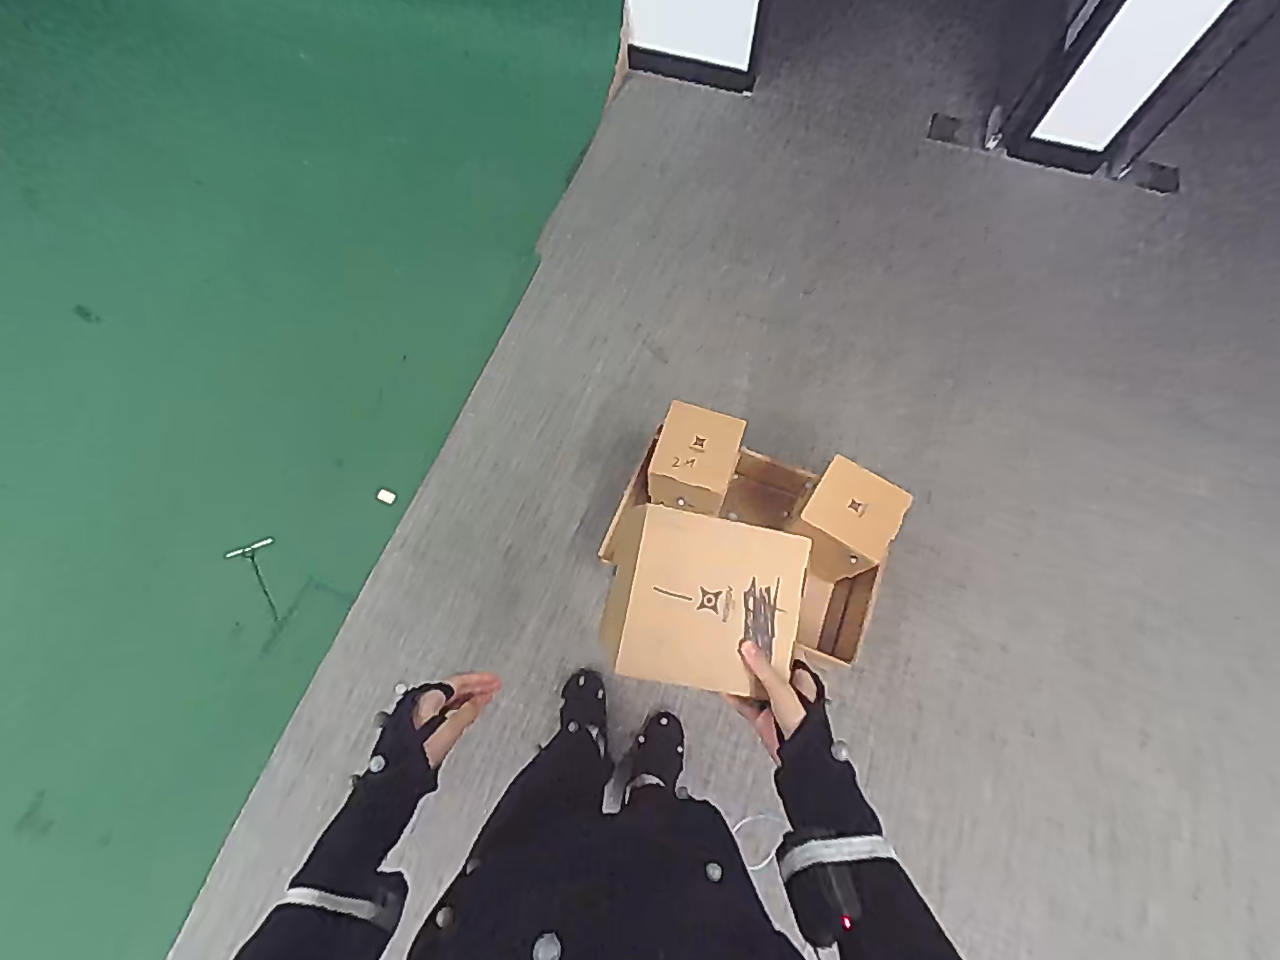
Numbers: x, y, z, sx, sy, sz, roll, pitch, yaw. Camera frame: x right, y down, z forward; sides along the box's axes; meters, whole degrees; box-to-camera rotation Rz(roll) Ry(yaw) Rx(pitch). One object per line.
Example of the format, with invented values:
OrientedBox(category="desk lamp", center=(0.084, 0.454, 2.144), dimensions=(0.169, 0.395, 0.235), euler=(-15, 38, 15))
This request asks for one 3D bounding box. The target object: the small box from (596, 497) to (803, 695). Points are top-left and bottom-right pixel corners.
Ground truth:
OrientedBox(category="small box", center=(0.055, 0.121, 0.607), dimensions=(0.179, 0.176, 0.168), euler=(13, 82, -6))

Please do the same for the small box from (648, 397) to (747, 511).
OrientedBox(category="small box", center=(0.123, -0.052, 1.197), dimensions=(0.168, 0.176, 0.179), euler=(19, 74, 9))

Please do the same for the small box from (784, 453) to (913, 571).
OrientedBox(category="small box", center=(0.431, 0.077, 1.148), dimensions=(0.179, 0.176, 0.168), euler=(32, 76, 11))
